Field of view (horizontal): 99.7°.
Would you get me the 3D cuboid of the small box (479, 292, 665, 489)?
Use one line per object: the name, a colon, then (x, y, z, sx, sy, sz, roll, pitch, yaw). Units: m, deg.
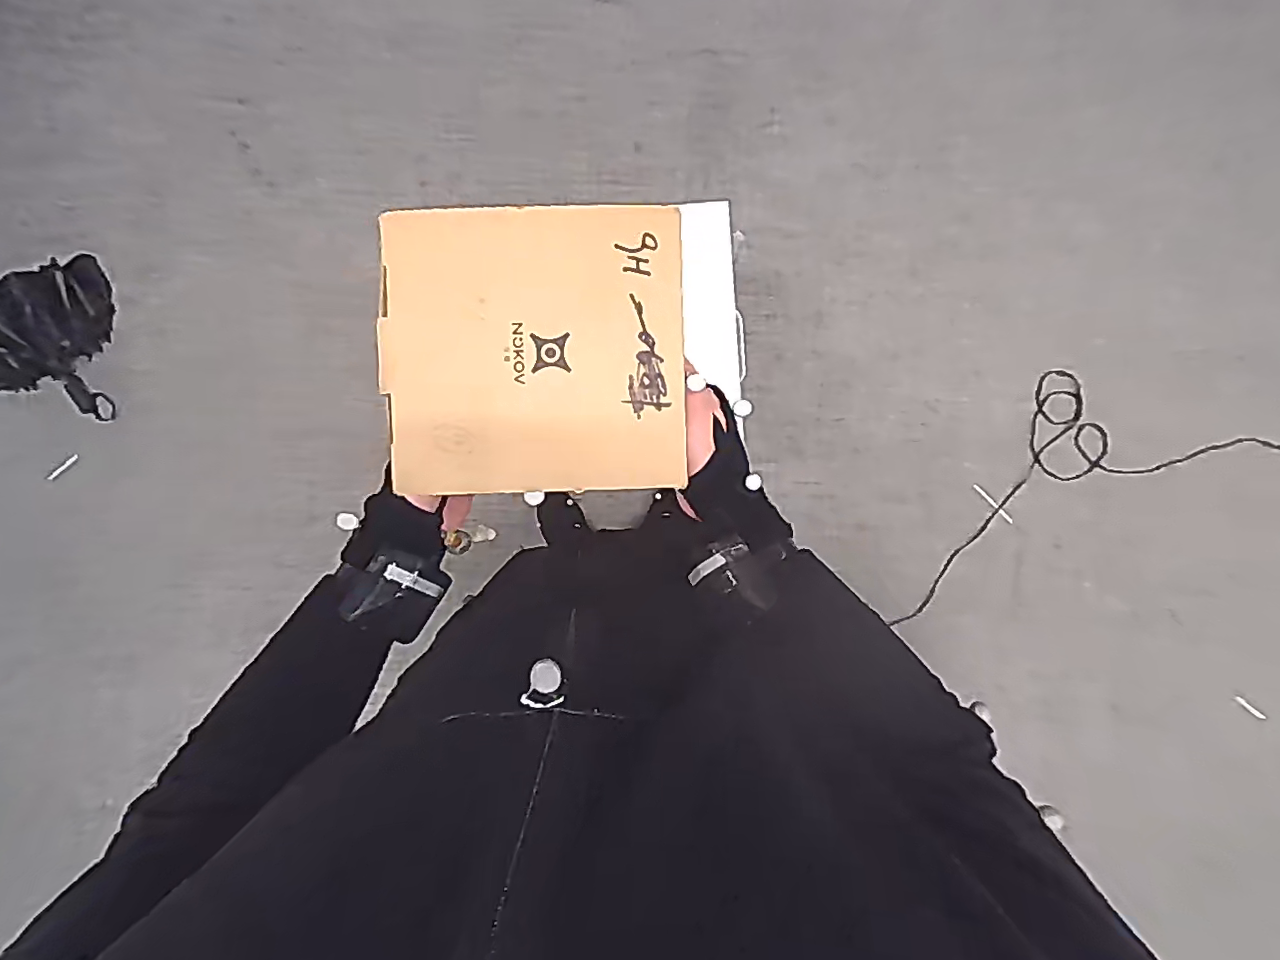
small box: (-0.062, -0.083, 0.565, 0.168, 0.176, 0.179, -2, 93, -1)
